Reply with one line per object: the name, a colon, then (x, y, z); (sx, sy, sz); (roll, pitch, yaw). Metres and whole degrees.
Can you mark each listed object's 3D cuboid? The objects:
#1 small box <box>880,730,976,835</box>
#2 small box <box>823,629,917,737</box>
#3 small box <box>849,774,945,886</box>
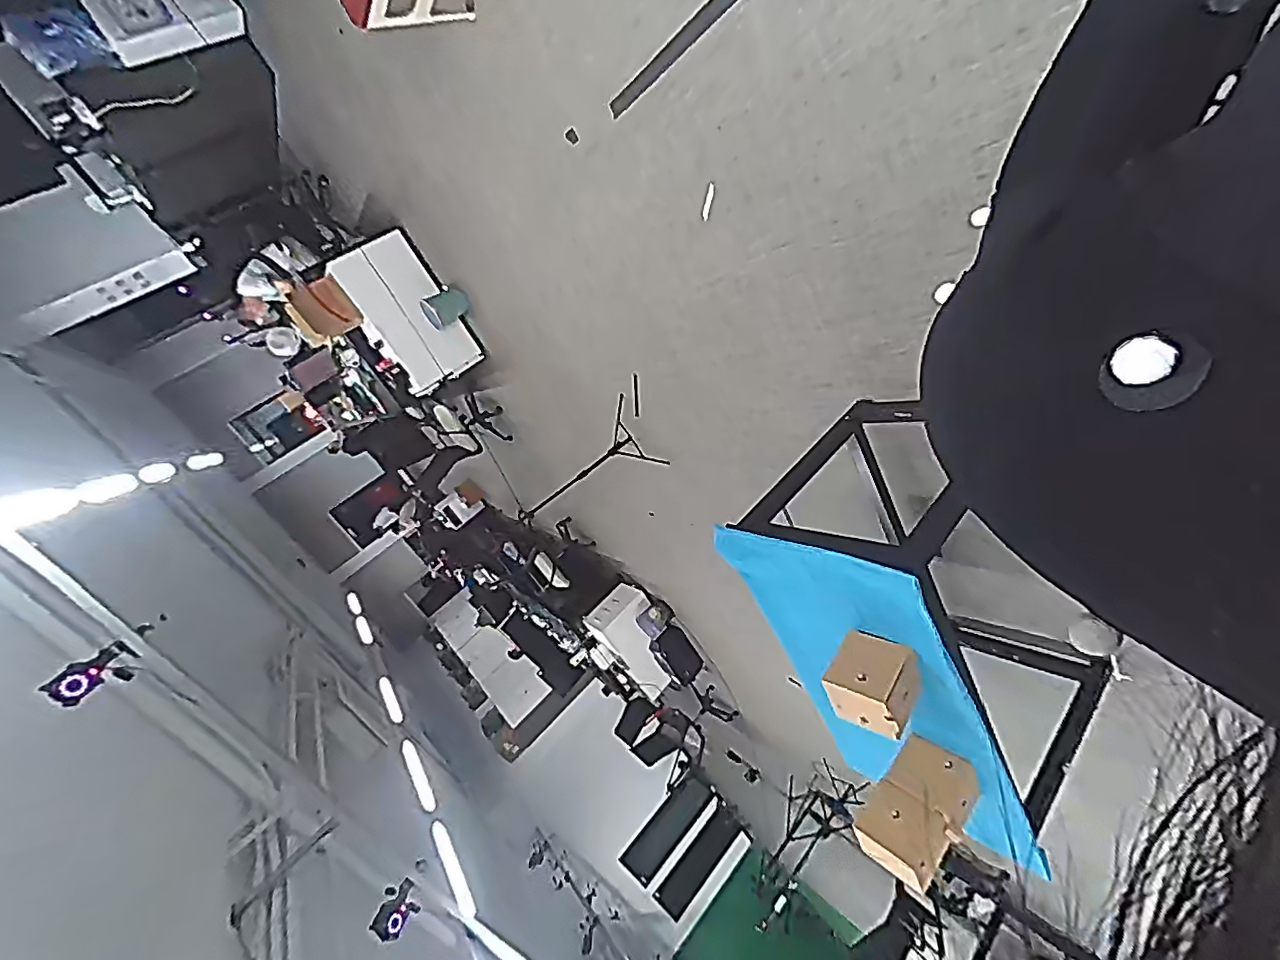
small box: (0.837, 0.879, 1.573); (0.179, 0.176, 0.168); (12, 137, 53)
small box: (0.597, 0.523, 1.414); (0.176, 0.179, 0.168); (7, 133, 46)
small box: (0.721, 0.984, 1.519); (0.179, 0.176, 0.168); (14, 139, 49)
